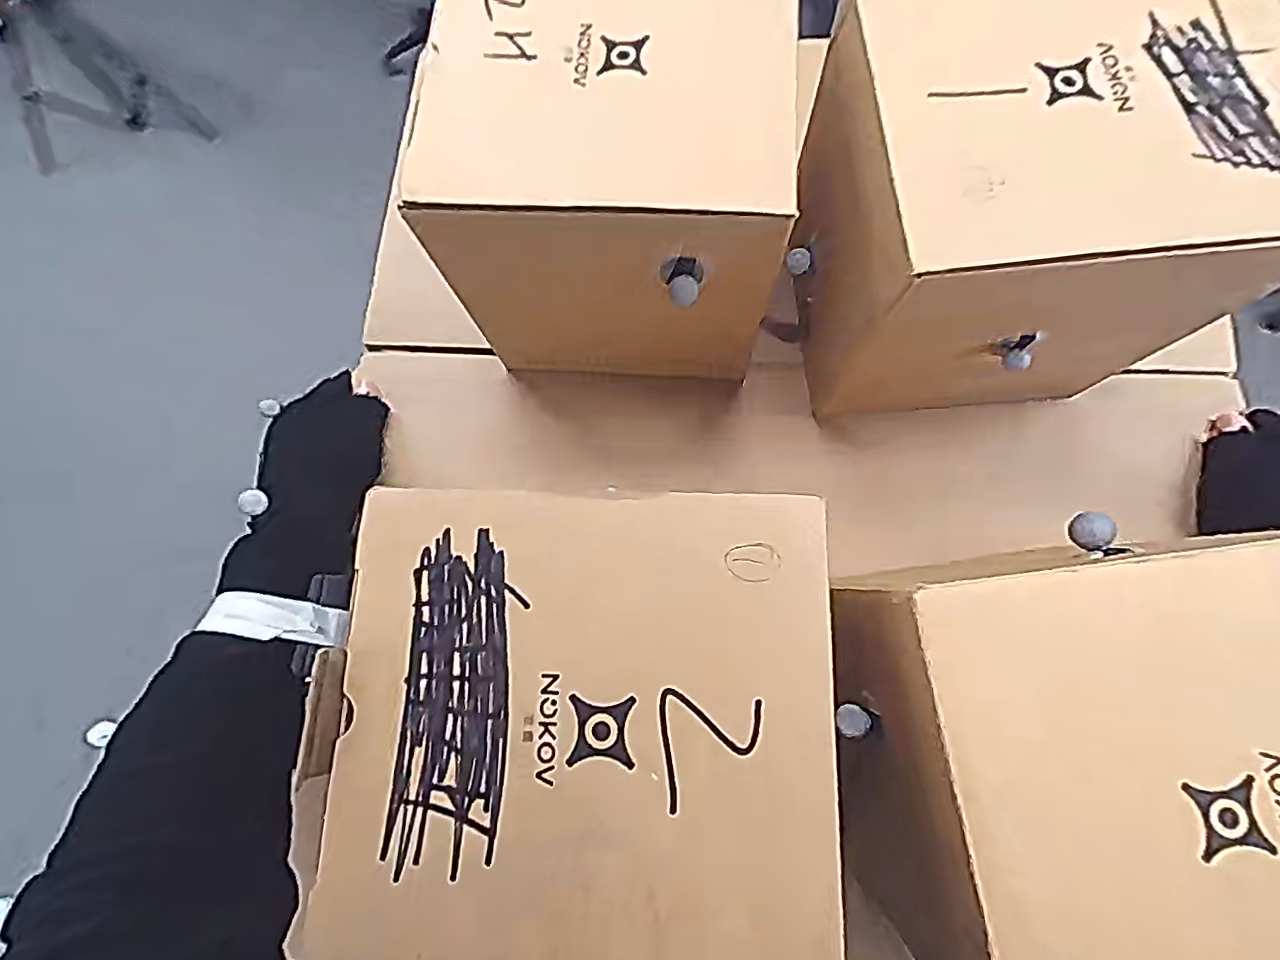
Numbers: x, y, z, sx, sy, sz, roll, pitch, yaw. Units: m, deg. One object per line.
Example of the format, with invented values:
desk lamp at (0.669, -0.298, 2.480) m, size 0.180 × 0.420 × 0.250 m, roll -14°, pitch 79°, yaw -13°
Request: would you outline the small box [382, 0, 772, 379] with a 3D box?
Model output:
small box at (-0.022, -0.172, 0.335) m, size 0.179 × 0.176 × 0.168 m, roll 3°, pitch 76°, yaw 5°
